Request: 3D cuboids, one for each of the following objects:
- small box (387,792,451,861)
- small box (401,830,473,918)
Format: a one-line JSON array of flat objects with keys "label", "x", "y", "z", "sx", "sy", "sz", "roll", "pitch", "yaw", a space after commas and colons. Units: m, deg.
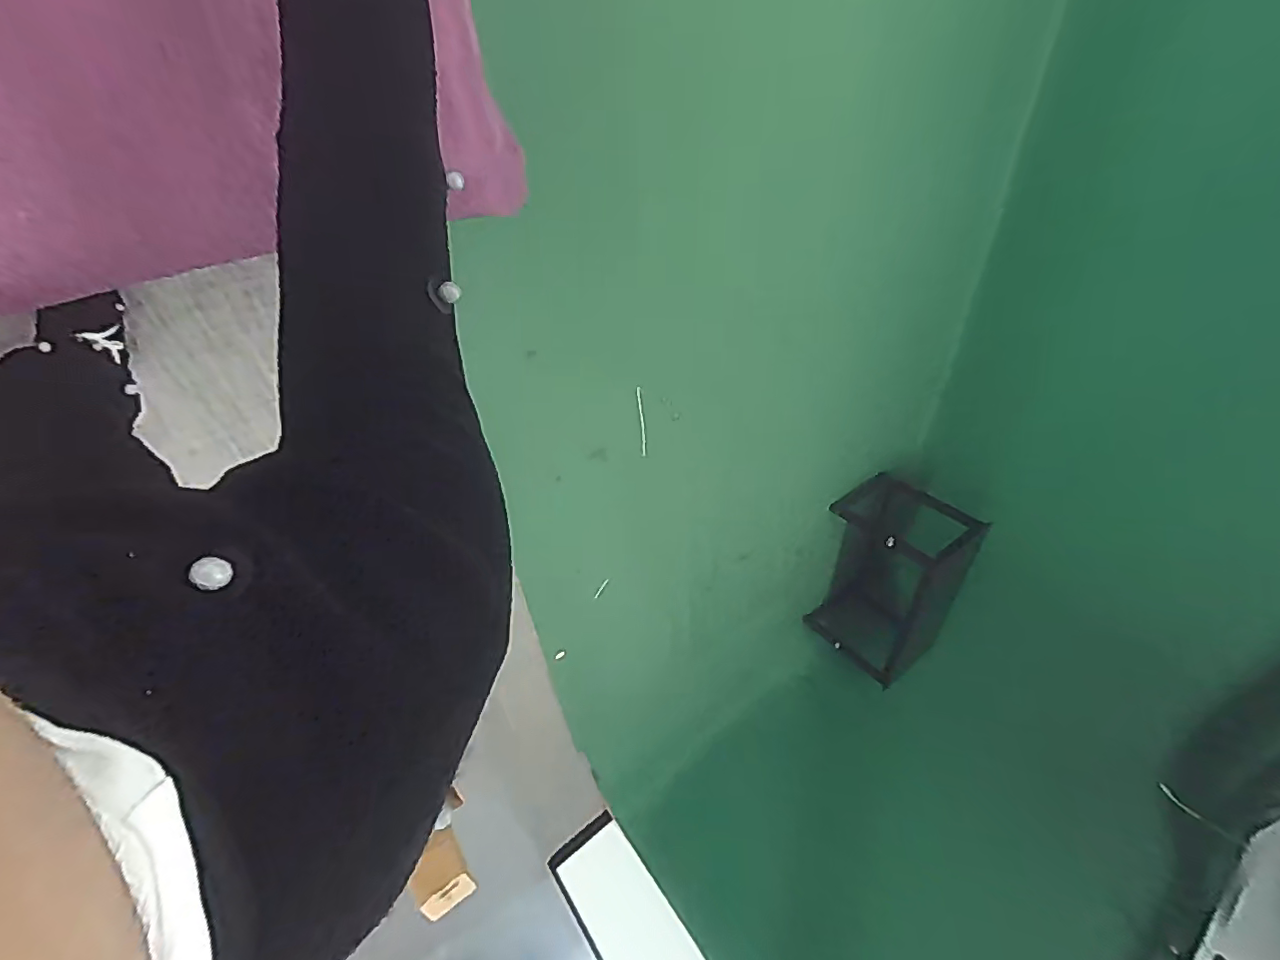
[{"label": "small box", "x": -0.819, "y": 1.312, "z": 2.020, "sx": 0.168, "sy": 0.176, "sz": 0.179, "roll": -26, "pitch": 133, "yaw": -28}, {"label": "small box", "x": -0.720, "y": 1.387, "z": 1.914, "sx": 0.168, "sy": 0.176, "sz": 0.179, "roll": -28, "pitch": 135, "yaw": -26}]
